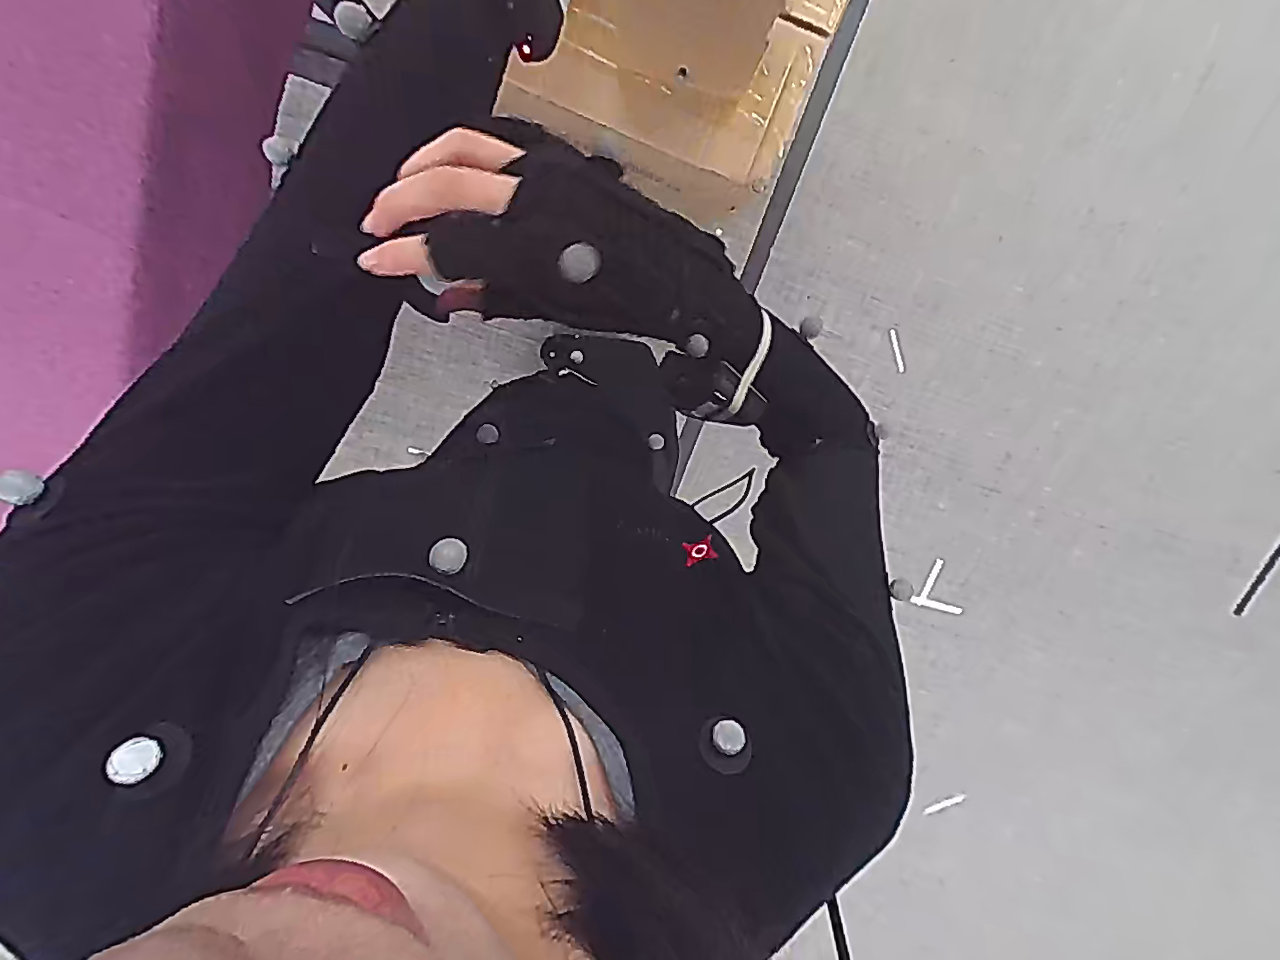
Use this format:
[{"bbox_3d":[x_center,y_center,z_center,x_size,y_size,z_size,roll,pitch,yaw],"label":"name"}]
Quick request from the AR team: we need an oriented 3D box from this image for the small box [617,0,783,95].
[{"bbox_3d":[0.075,-0.591,0.636,0.179,0.176,0.168,13,105,-5],"label":"small box"}]

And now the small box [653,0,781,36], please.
[{"bbox_3d":[0.078,-0.544,0.478,0.179,0.176,0.168,18,105,-6],"label":"small box"}]
